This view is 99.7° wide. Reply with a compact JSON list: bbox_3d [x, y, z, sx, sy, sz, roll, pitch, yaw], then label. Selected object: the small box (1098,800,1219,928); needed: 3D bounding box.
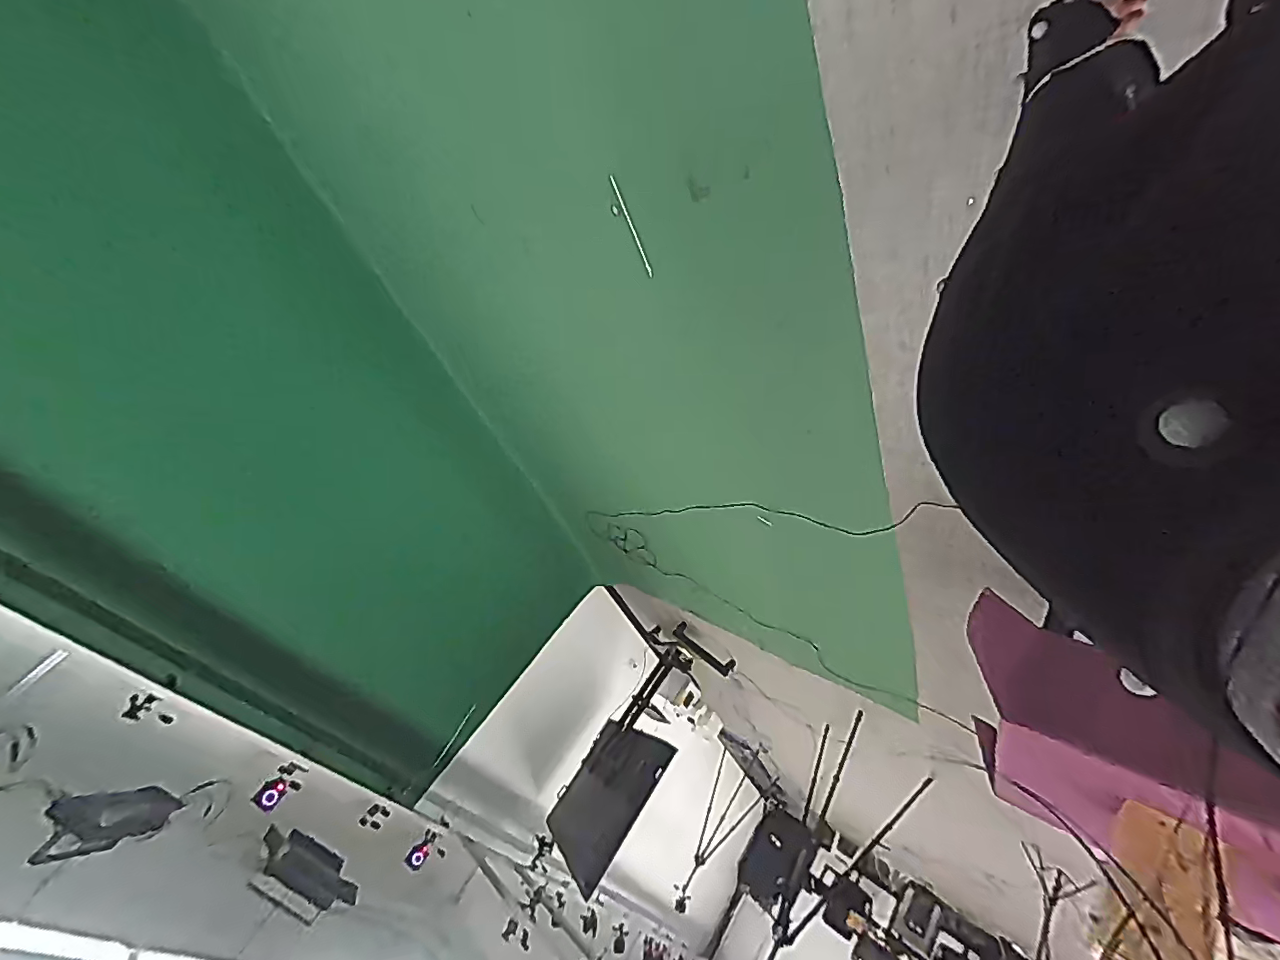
[{"bbox_3d":[1.206,0.887,1.260,0.168,0.176,0.179,17,147,40],"label":"small box"}]
